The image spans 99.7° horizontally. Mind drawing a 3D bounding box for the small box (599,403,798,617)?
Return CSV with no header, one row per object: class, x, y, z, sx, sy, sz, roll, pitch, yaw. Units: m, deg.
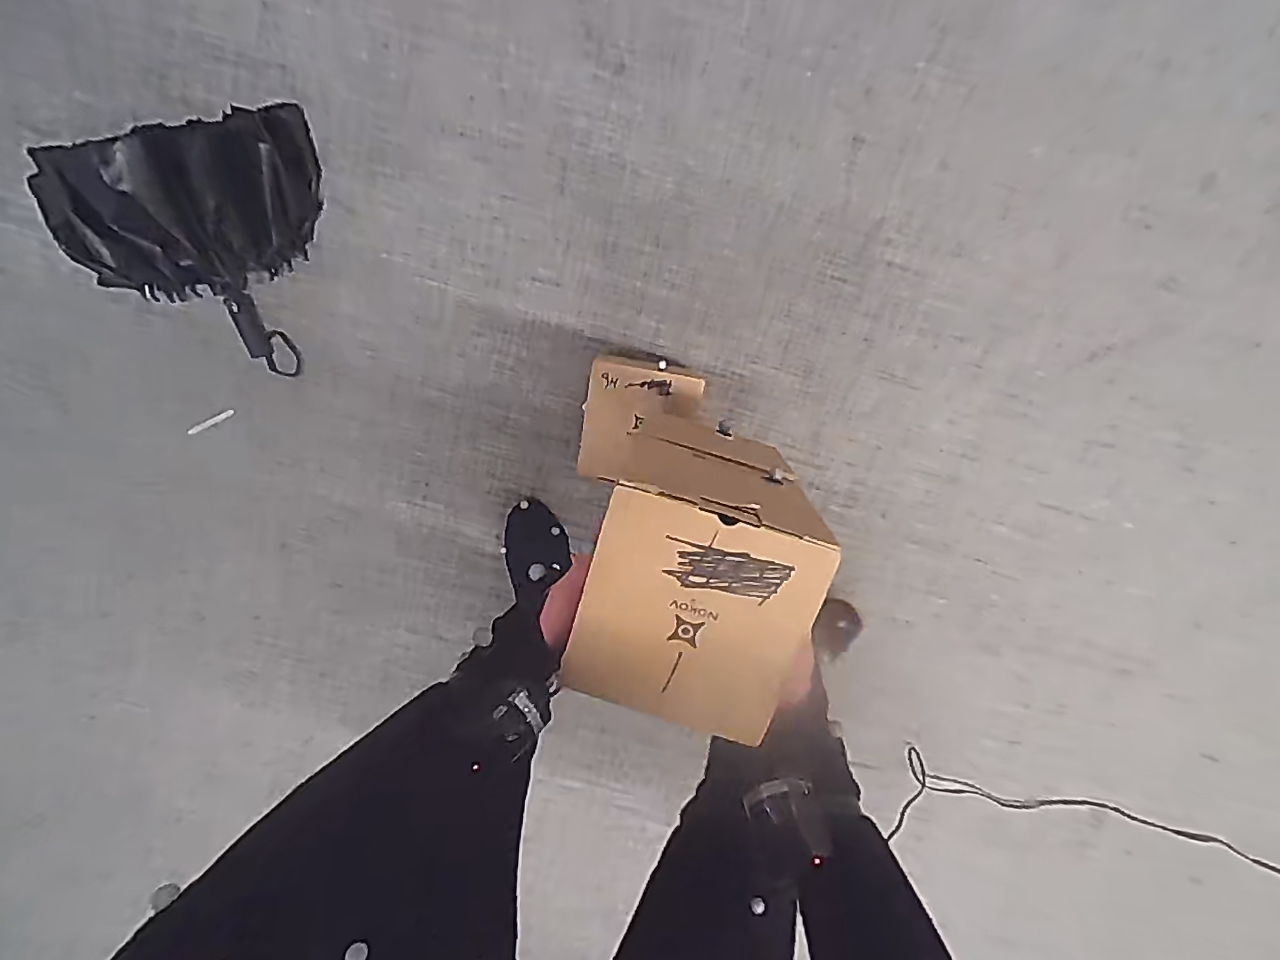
small box,0.064,0.023,0.623,0.168,0.176,0.179,16,106,2
